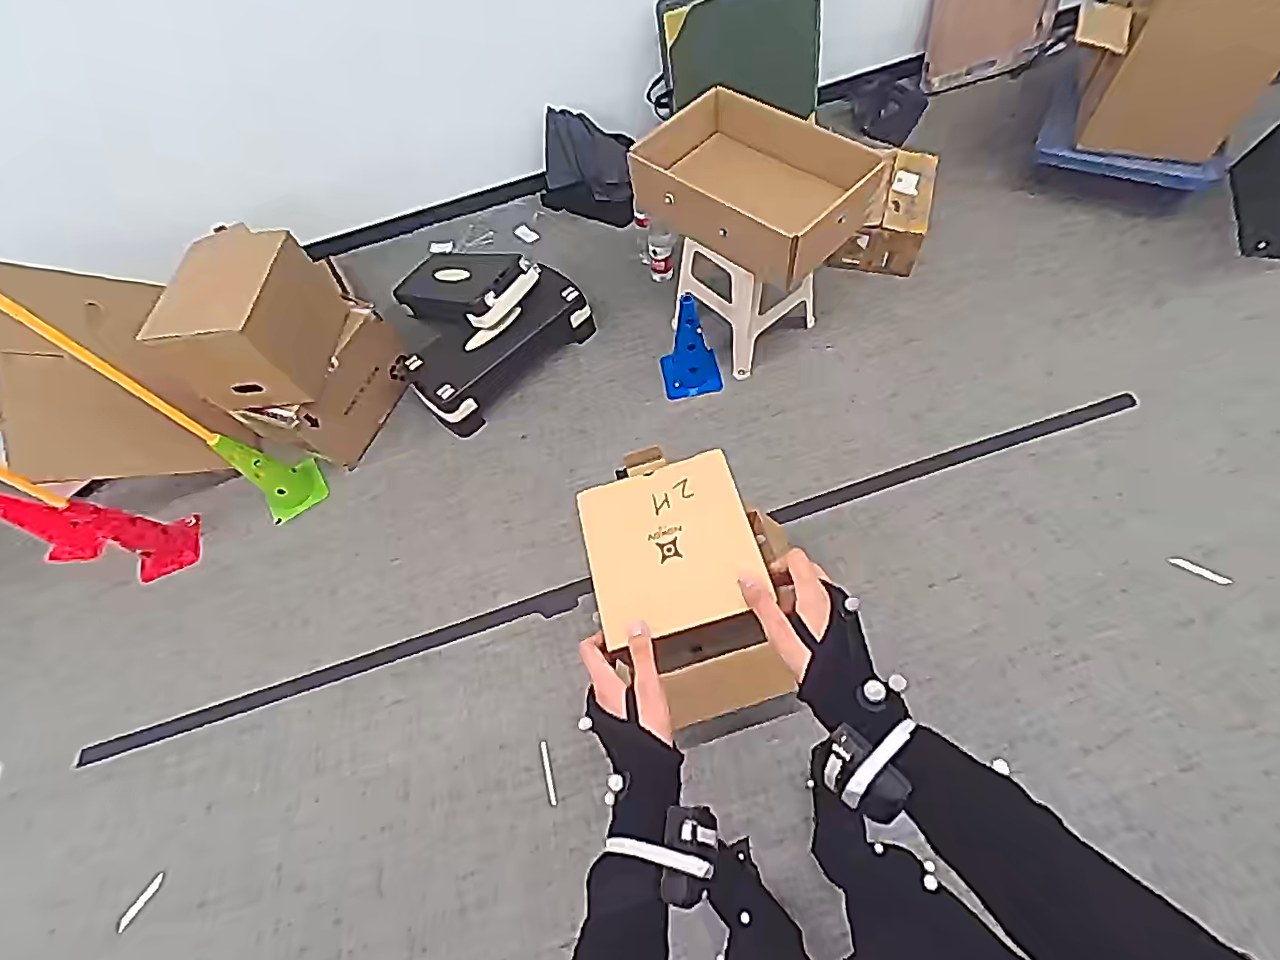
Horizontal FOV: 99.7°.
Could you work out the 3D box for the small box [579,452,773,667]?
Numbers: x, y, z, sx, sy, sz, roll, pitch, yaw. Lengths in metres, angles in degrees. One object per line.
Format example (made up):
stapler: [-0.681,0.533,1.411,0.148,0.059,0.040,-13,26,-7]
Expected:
small box: [0.044,0.101,0.610,0.168,0.176,0.179,-17,60,3]
